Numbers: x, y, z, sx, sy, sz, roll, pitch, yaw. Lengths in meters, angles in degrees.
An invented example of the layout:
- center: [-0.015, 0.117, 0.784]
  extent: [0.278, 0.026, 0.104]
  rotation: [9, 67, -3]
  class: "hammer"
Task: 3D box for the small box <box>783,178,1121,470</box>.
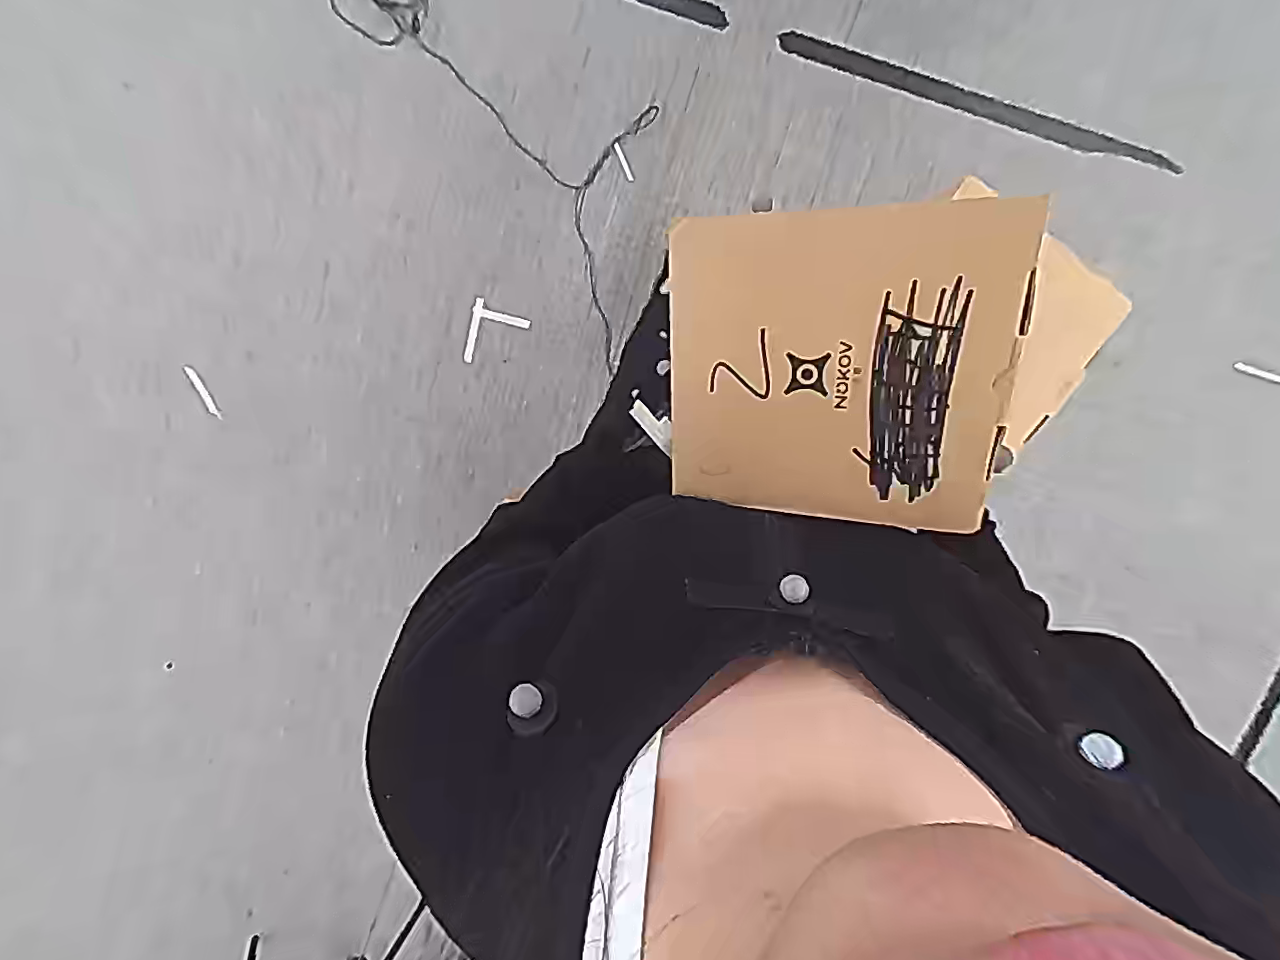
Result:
- center: [0.270, -0.135, 0.512]
  extent: [0.179, 0.176, 0.168]
  rotation: [34, 96, -8]
  class: "small box"
